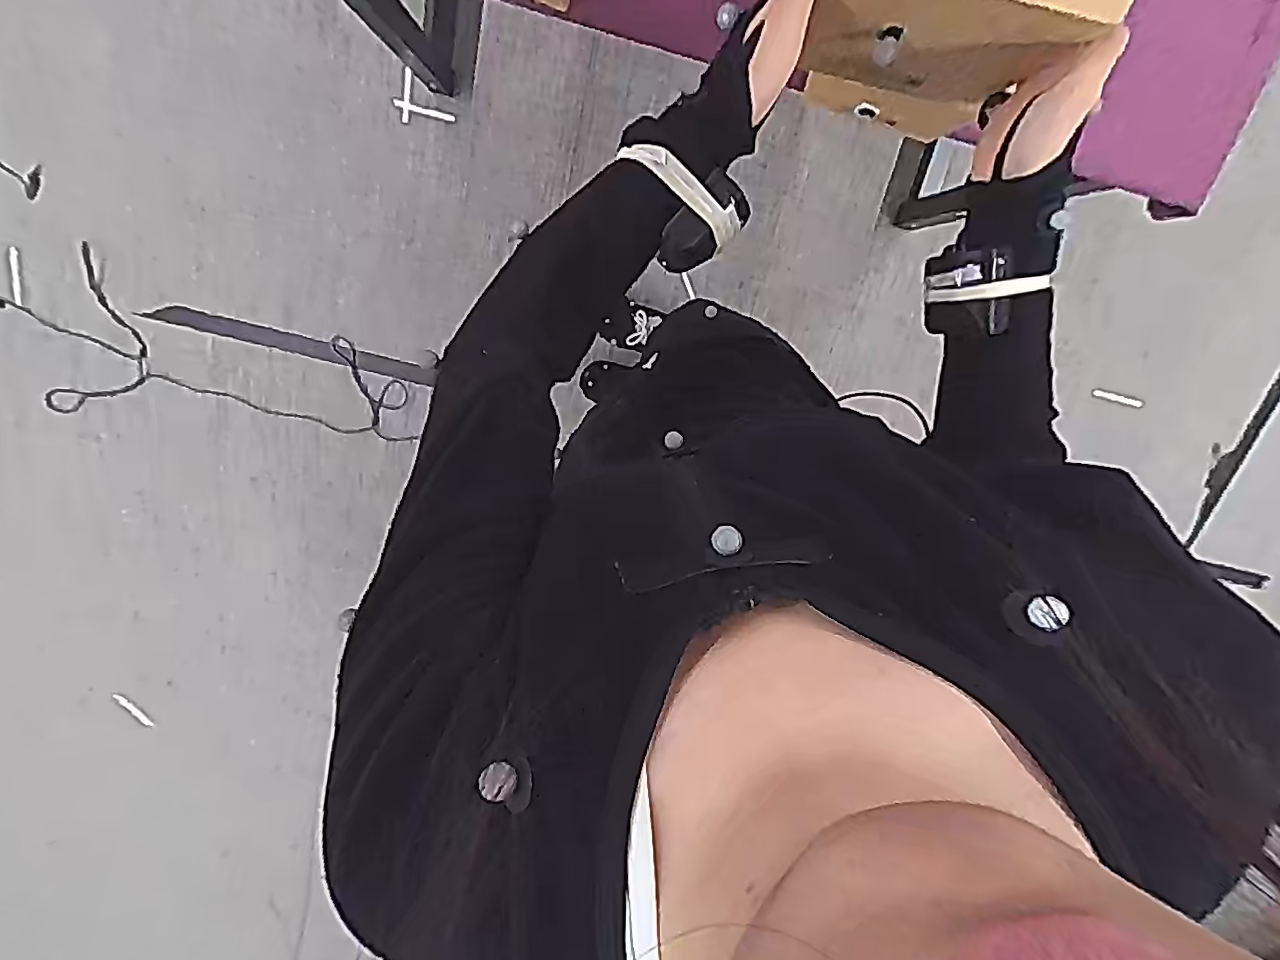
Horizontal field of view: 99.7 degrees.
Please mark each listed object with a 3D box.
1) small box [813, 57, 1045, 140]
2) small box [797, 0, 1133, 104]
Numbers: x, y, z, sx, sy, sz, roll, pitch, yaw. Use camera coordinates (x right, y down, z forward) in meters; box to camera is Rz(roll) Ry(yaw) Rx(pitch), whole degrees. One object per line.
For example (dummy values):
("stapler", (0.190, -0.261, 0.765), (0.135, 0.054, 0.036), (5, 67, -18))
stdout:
("small box", (0.291, -0.469, 0.528), (0.168, 0.176, 0.179), (13, 110, -5))
("small box", (0.210, -0.371, 0.338), (0.168, 0.176, 0.179), (14, 110, 0))
